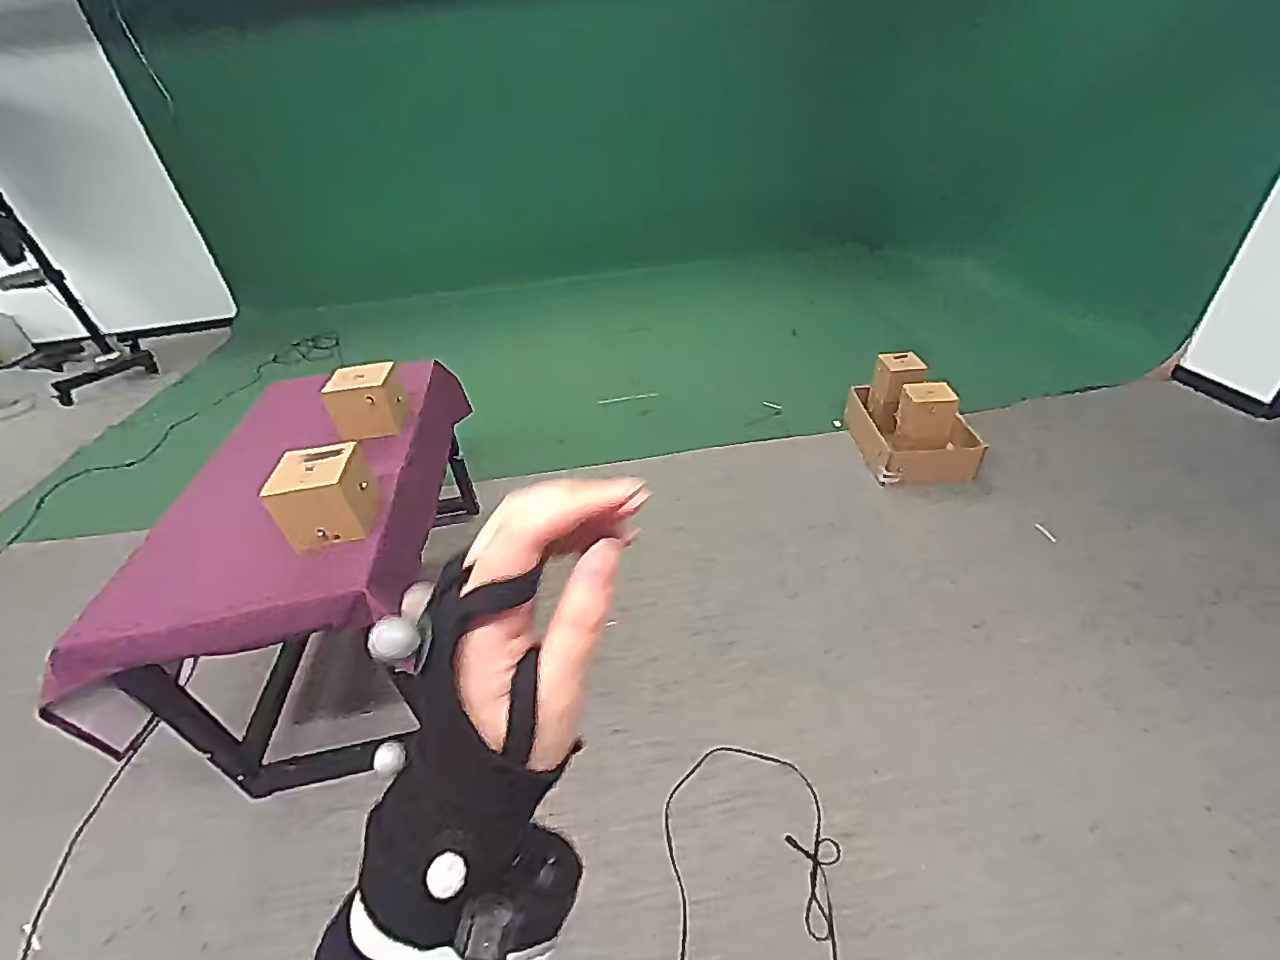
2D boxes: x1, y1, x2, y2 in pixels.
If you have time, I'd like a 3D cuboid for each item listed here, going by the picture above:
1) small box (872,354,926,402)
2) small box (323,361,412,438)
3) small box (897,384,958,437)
[{"bbox_3d":[1.218,-0.481,2.556,0.168,0.176,0.179,-3,38,2],"label":"small box"},{"bbox_3d":[-0.822,-0.246,1.655,0.179,0.176,0.168,-8,36,-3],"label":"small box"},{"bbox_3d":[1.225,-0.298,2.318,0.179,0.176,0.168,-2,36,9],"label":"small box"}]
